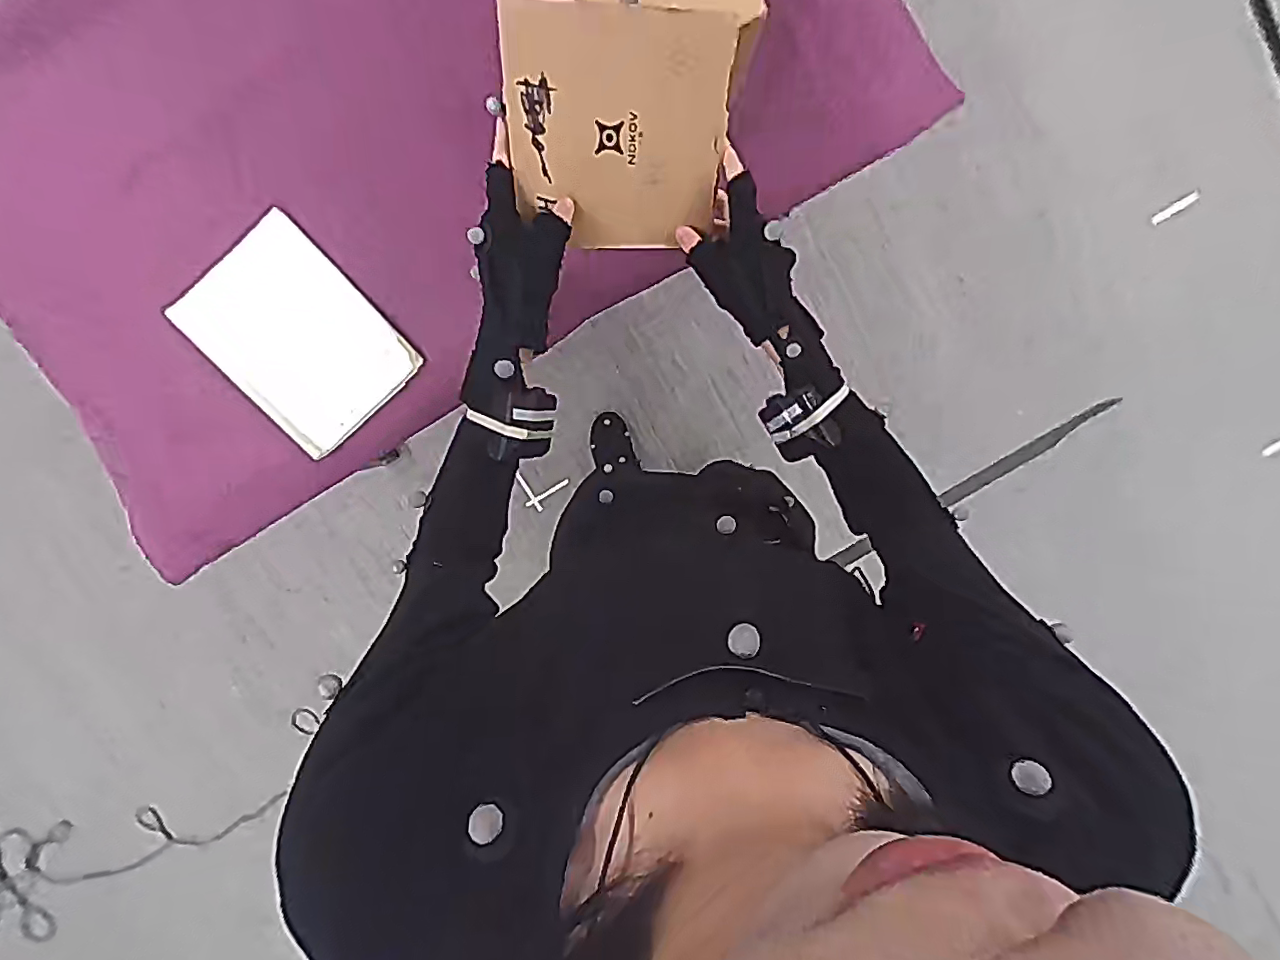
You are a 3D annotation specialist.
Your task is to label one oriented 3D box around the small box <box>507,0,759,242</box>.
[{"bbox_3d":[-0.021,-0.321,0.477,0.179,0.176,0.168,-4,128,-12],"label":"small box"}]
